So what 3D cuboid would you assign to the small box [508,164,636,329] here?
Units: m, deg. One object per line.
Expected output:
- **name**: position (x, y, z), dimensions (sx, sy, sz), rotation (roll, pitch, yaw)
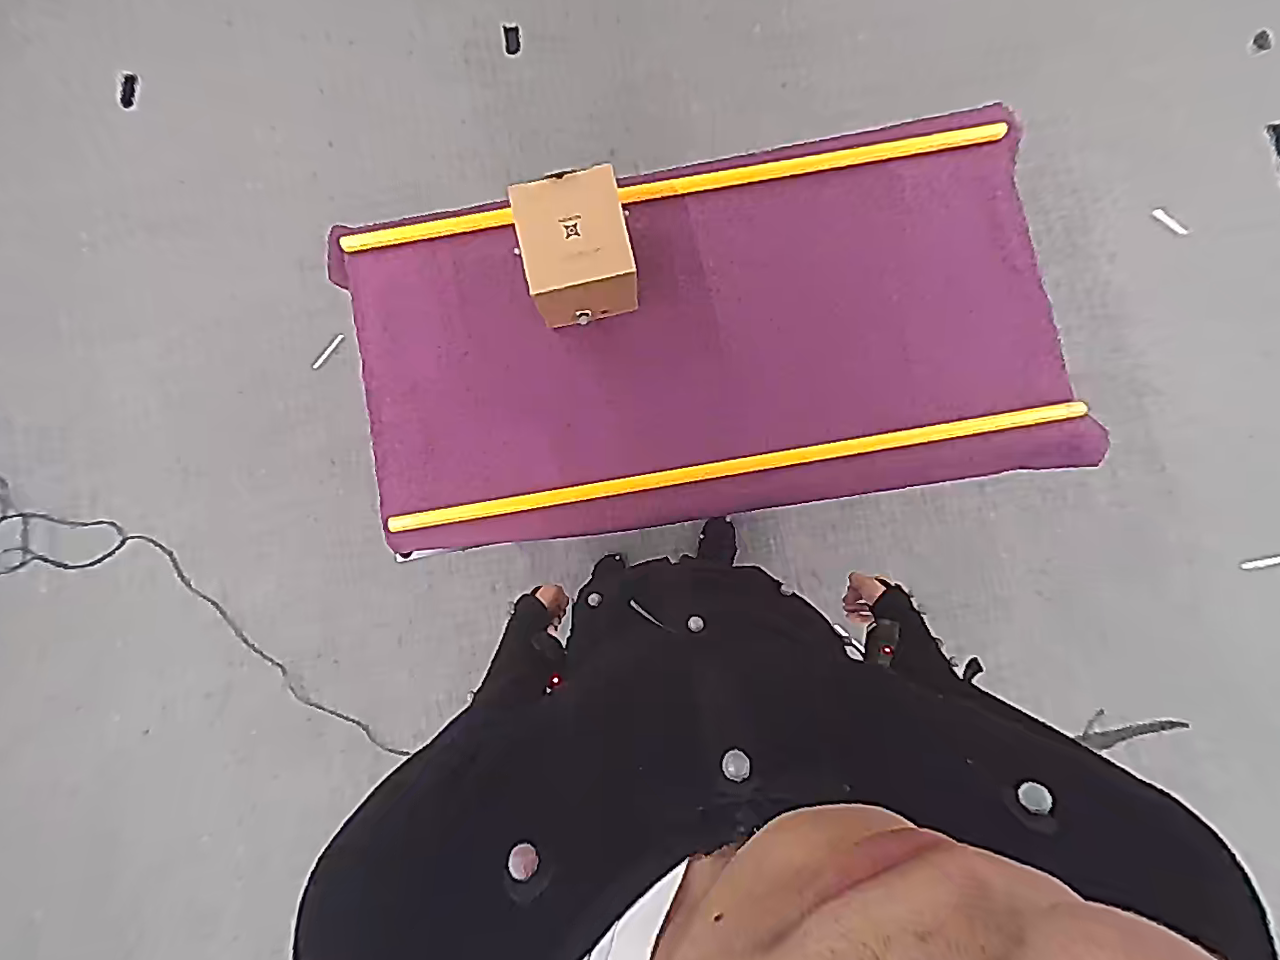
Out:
- **small box**: position (-0.104, -0.373, 0.891), dimensions (0.168, 0.176, 0.179), rotation (-13, 86, 0)
